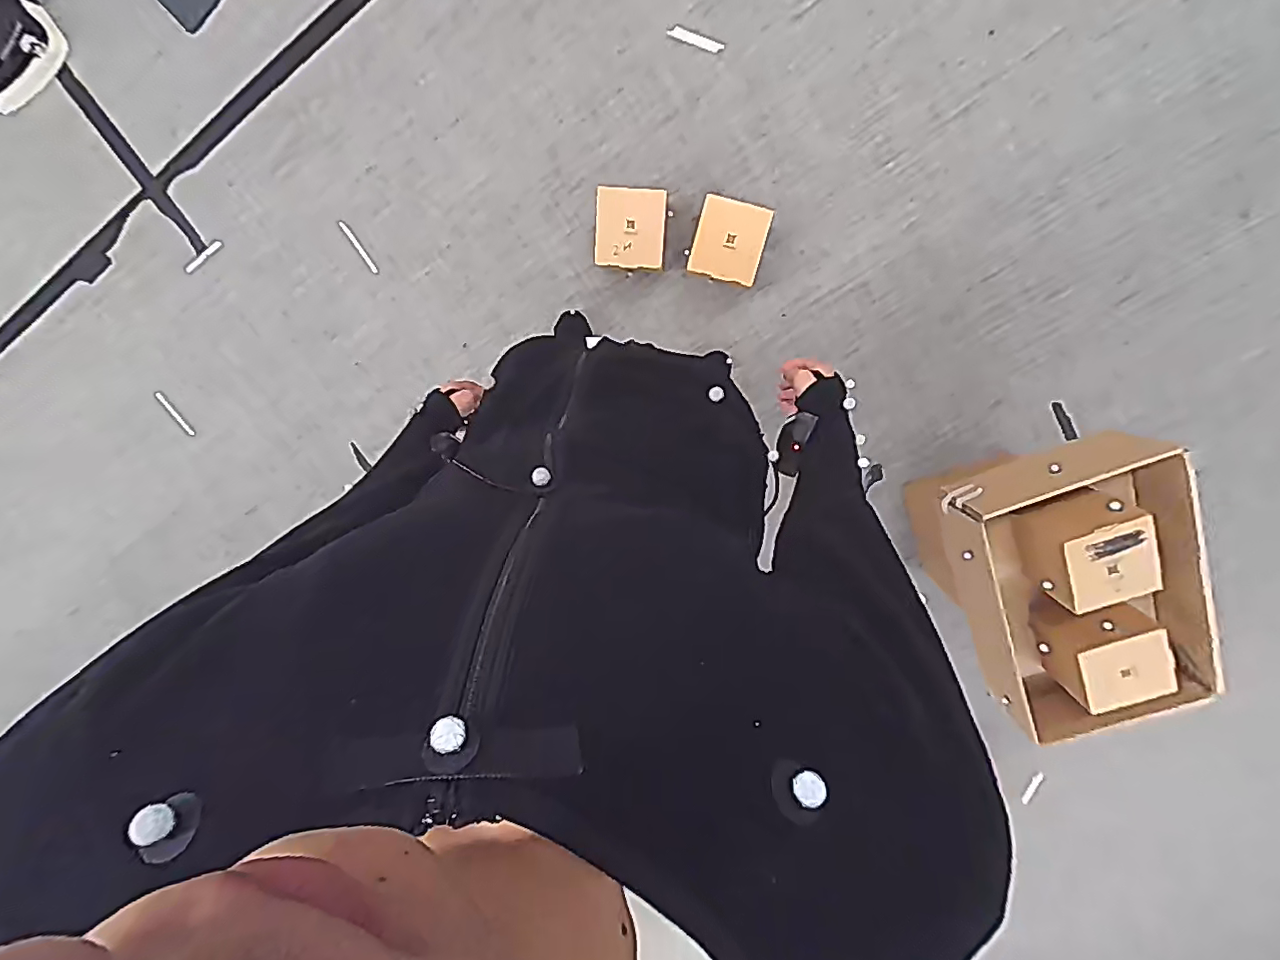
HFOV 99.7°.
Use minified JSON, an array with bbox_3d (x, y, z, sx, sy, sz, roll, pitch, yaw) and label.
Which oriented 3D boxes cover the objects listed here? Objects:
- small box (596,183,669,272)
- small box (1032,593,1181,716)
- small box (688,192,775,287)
[{"bbox_3d":[-0.017,-0.625,1.356,0.168,0.176,0.179,5,109,2],"label":"small box"},{"bbox_3d":[1.016,0.375,1.189,0.179,0.176,0.168,-22,104,6],"label":"small box"},{"bbox_3d":[0.219,-0.596,1.357,0.168,0.176,0.179,14,109,-2],"label":"small box"}]
